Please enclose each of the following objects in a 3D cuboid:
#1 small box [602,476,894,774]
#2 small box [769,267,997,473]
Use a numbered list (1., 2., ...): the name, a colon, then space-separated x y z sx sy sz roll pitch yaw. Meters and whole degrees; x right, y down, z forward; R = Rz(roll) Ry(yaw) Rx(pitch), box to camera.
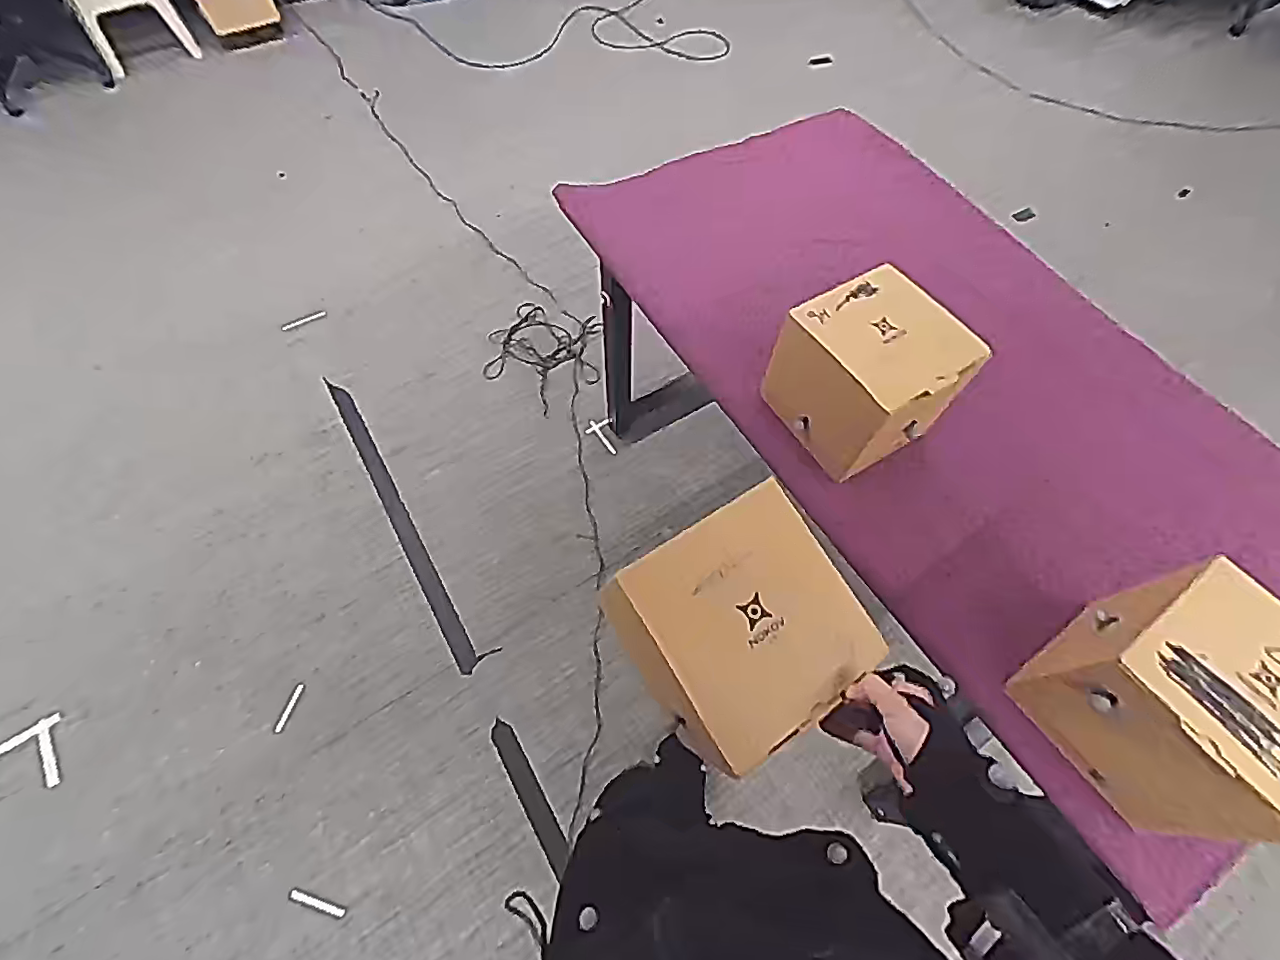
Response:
1. small box: 0.081 0.127 0.501 0.168 0.176 0.179 -30 80 -18
2. small box: 0.294 -0.130 0.698 0.168 0.176 0.179 -28 67 -15
